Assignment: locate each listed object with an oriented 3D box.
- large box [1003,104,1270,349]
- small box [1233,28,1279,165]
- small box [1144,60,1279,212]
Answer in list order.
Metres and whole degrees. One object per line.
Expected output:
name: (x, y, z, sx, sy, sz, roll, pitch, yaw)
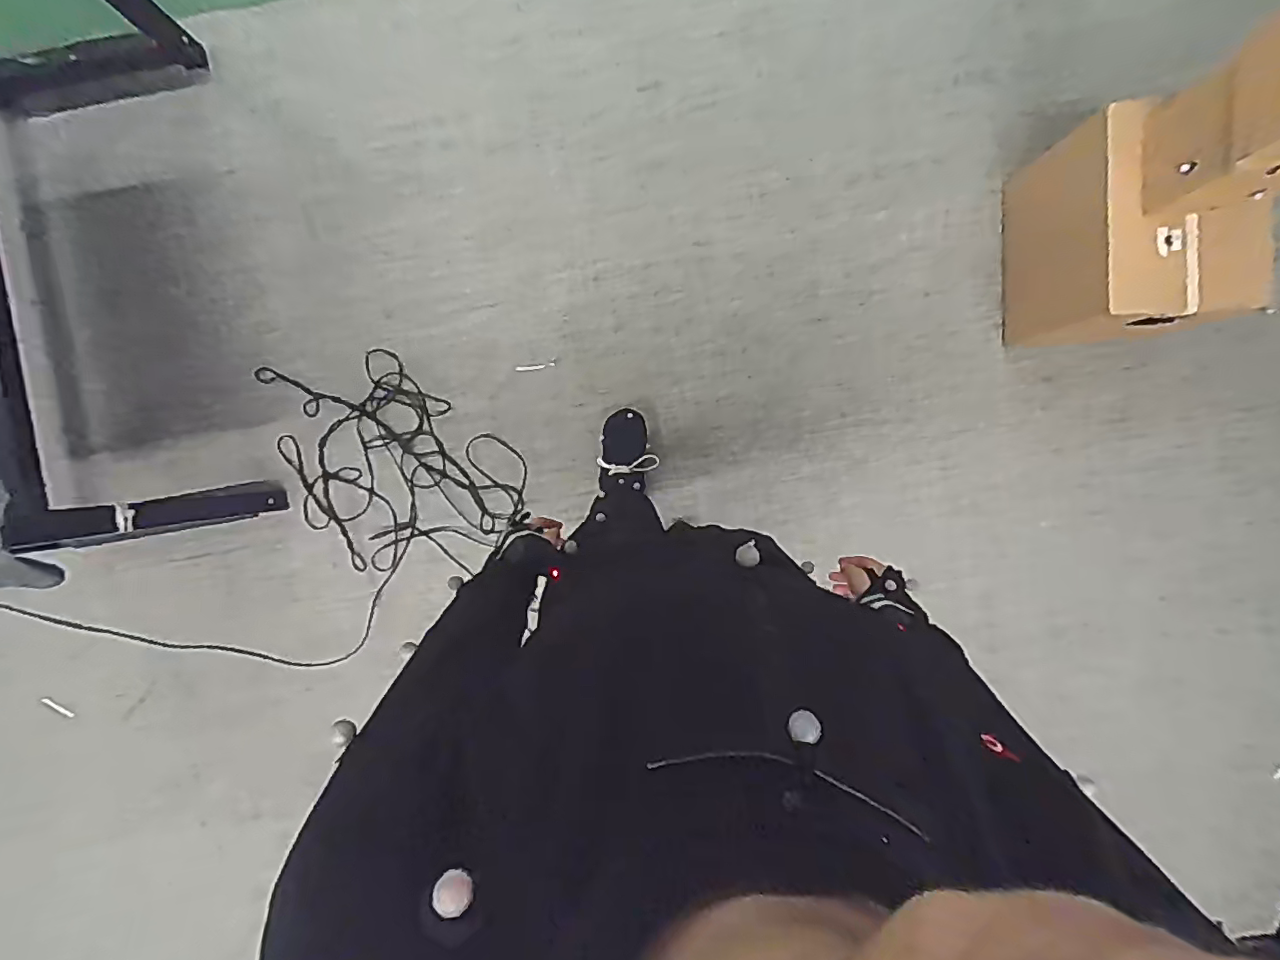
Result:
large box: (1.046, -0.523, 1.179, 0.320, 0.320, 0.408, -3, 93, 2)
small box: (1.017, -0.583, 0.772, 0.168, 0.176, 0.179, -1, 93, 0)
small box: (1.026, -0.582, 0.935, 0.168, 0.176, 0.179, -3, 91, 0)
